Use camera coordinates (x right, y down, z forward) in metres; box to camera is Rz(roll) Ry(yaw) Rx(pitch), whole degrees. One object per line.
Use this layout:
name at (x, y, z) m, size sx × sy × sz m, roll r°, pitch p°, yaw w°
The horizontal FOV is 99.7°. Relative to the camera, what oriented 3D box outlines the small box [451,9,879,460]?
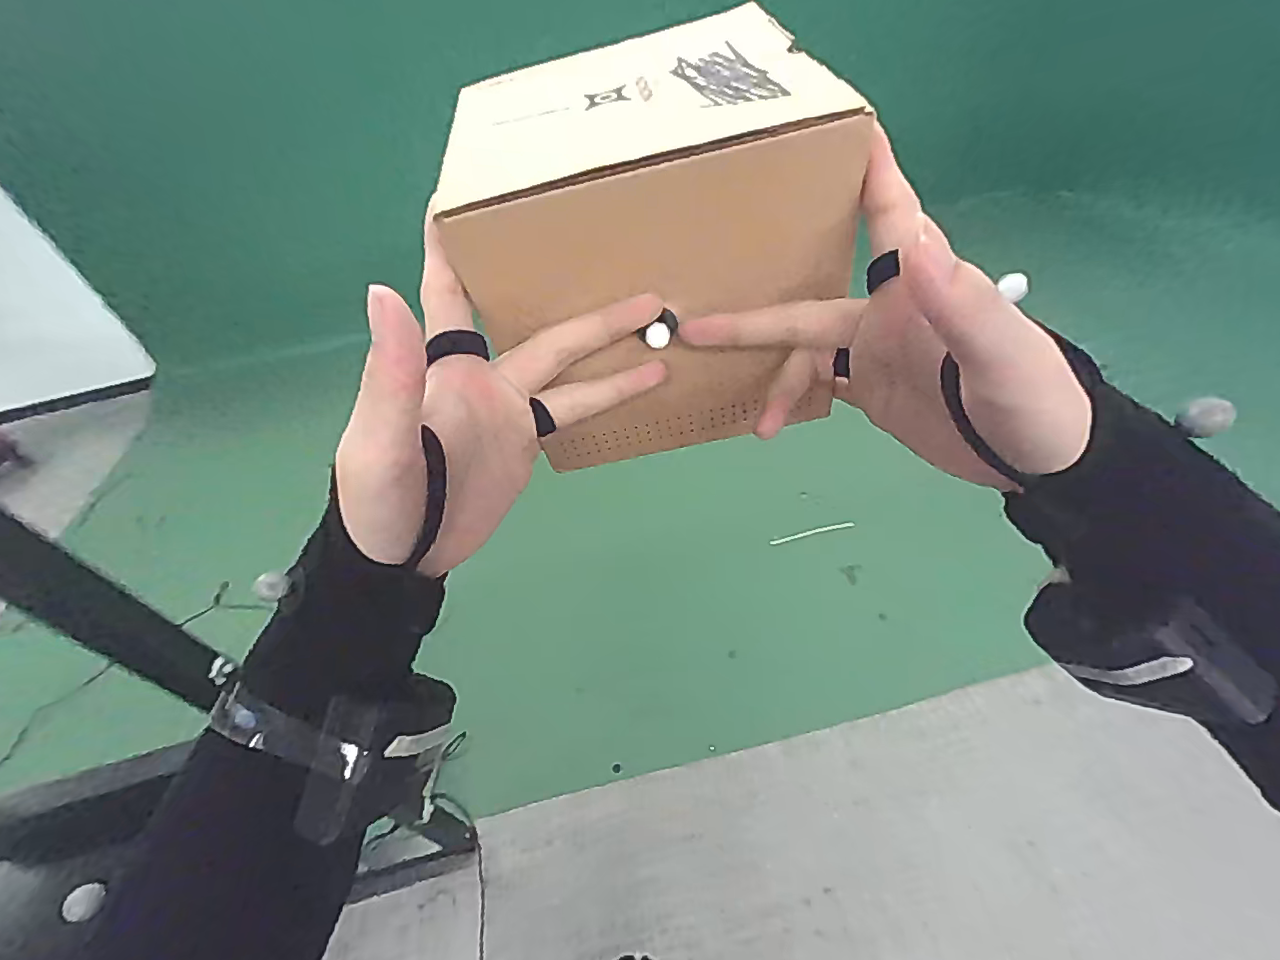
small box at (0.013, -0.135, 0.323) m, size 0.179 × 0.176 × 0.168 m, roll -12°, pitch 51°, yaw 4°
